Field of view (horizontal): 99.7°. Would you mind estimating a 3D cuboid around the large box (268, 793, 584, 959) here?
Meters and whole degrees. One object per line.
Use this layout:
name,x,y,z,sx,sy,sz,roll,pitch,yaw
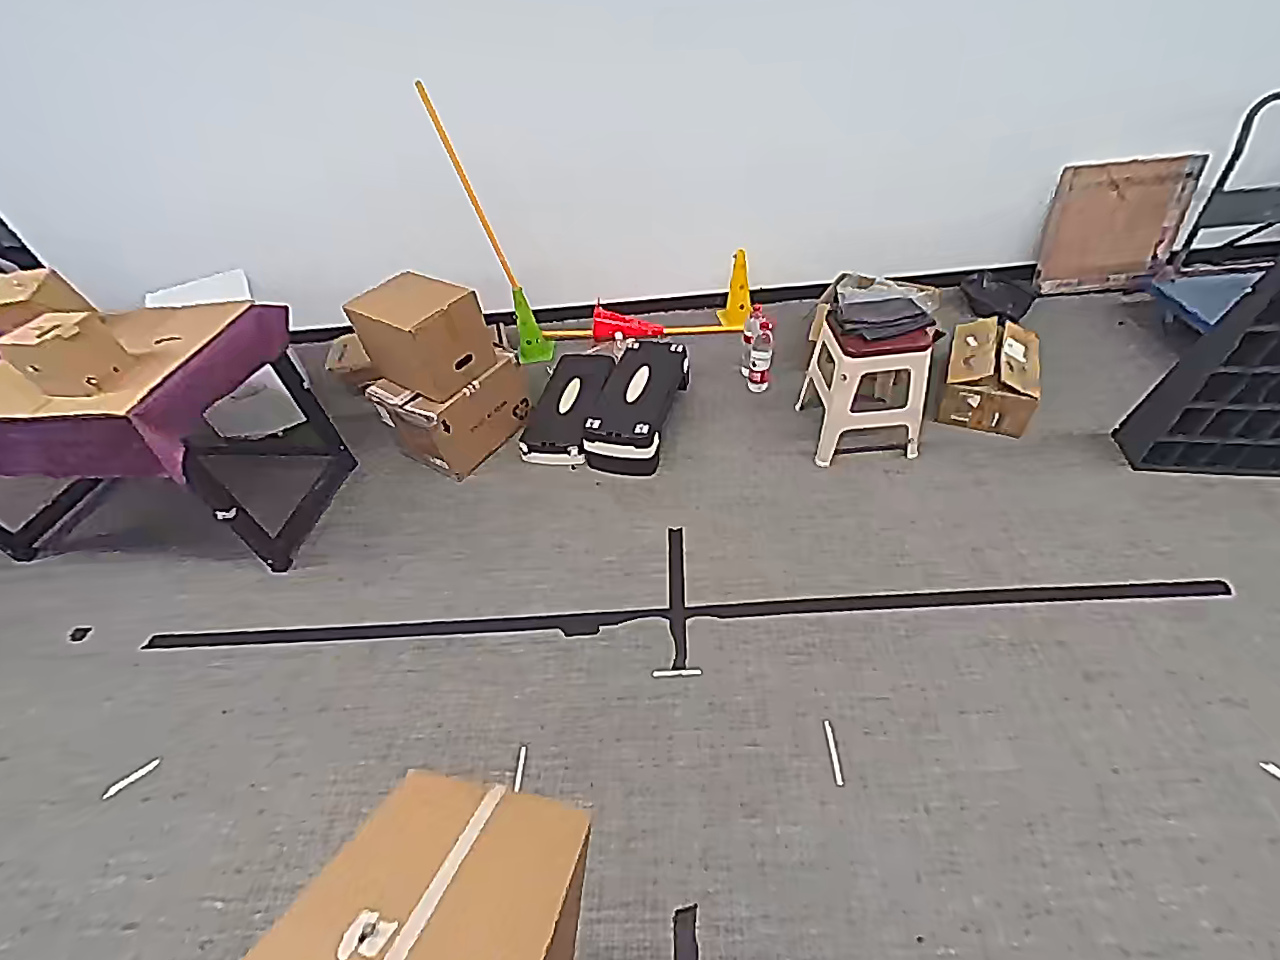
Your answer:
large box,-0.280,0.705,0.701,0.320,0.320,0.408,7,6,8
